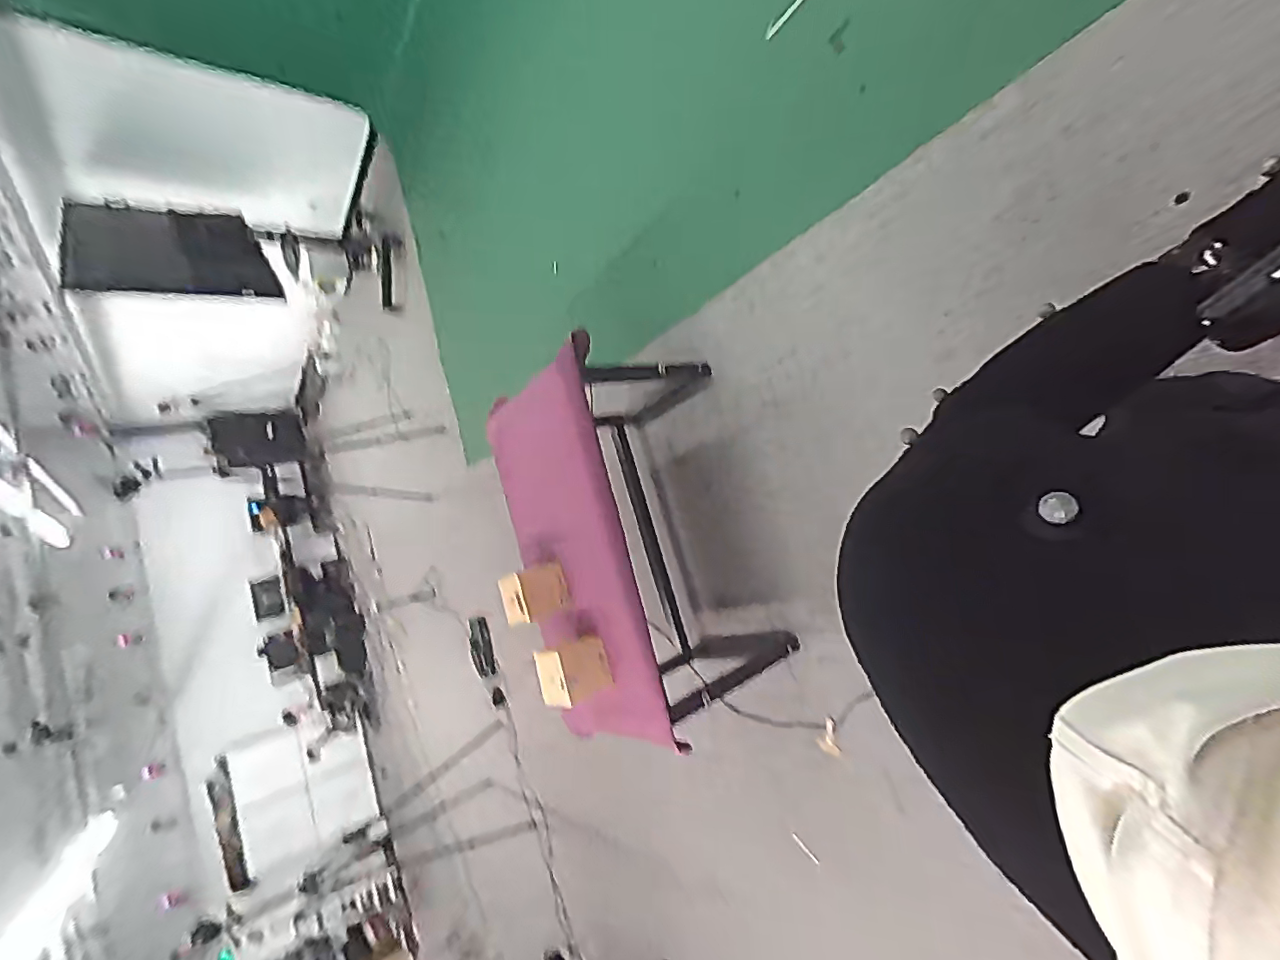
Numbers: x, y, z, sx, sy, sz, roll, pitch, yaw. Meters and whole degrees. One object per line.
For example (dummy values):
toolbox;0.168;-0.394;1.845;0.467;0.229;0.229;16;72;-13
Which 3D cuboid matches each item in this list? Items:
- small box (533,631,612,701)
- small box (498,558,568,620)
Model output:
small box;-0.217;0.597;1.752;0.179;0.176;0.168;-23;82;50
small box;-0.368;0.378;1.883;0.179;0.176;0.168;-25;79;50
